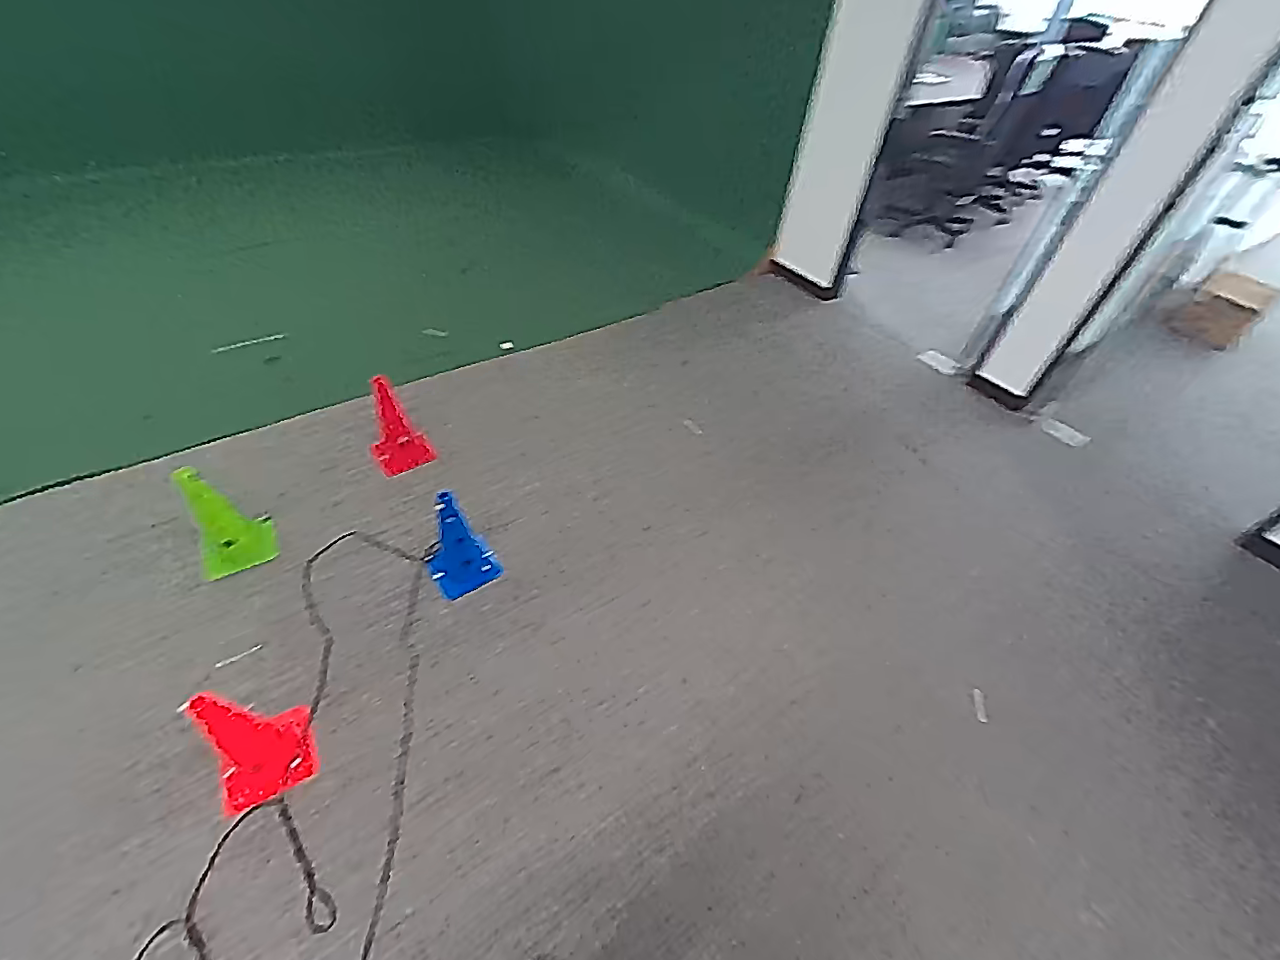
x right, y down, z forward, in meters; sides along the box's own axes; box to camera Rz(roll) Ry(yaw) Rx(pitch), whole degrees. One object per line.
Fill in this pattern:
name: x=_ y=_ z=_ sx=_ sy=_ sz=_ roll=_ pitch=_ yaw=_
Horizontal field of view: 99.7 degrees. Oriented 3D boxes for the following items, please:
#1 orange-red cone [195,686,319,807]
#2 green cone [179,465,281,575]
orange-red cone: x=-0.909 y=0.564 z=1.234 sx=0.198 sy=0.360 sz=0.199 roll=-20 pitch=50 yaw=-24
green cone: x=-1.288 y=0.089 z=1.642 sx=0.200 sy=0.368 sz=0.202 roll=-23 pitch=54 yaw=-24
